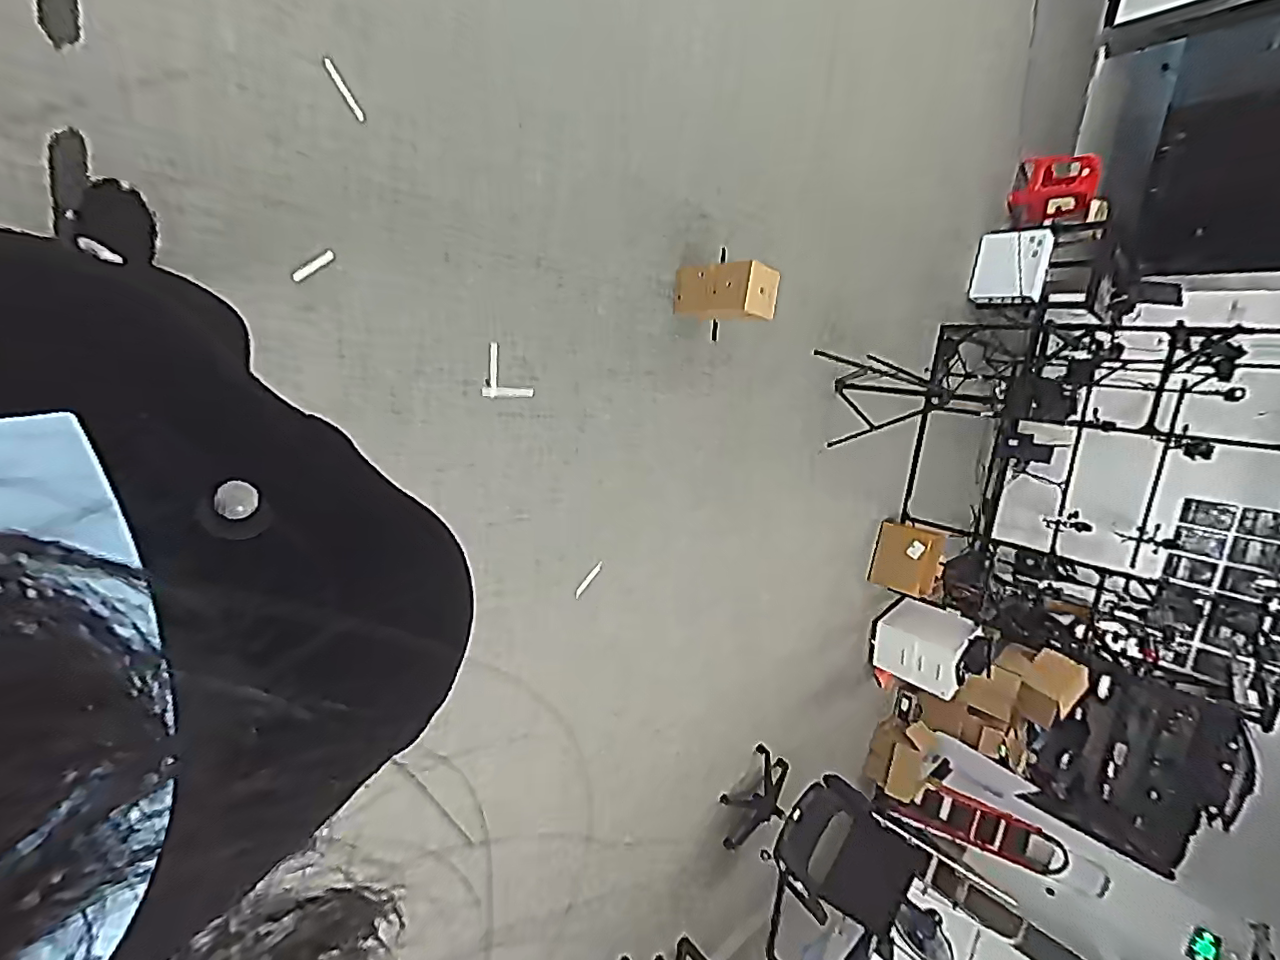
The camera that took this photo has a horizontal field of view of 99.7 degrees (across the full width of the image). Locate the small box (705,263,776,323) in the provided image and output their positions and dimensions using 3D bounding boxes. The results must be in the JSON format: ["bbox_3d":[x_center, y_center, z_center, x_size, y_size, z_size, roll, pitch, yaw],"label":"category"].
[{"bbox_3d":[0.354,-0.662,1.929,0.179,0.176,0.168,1,102,-45],"label":"small box"}]
